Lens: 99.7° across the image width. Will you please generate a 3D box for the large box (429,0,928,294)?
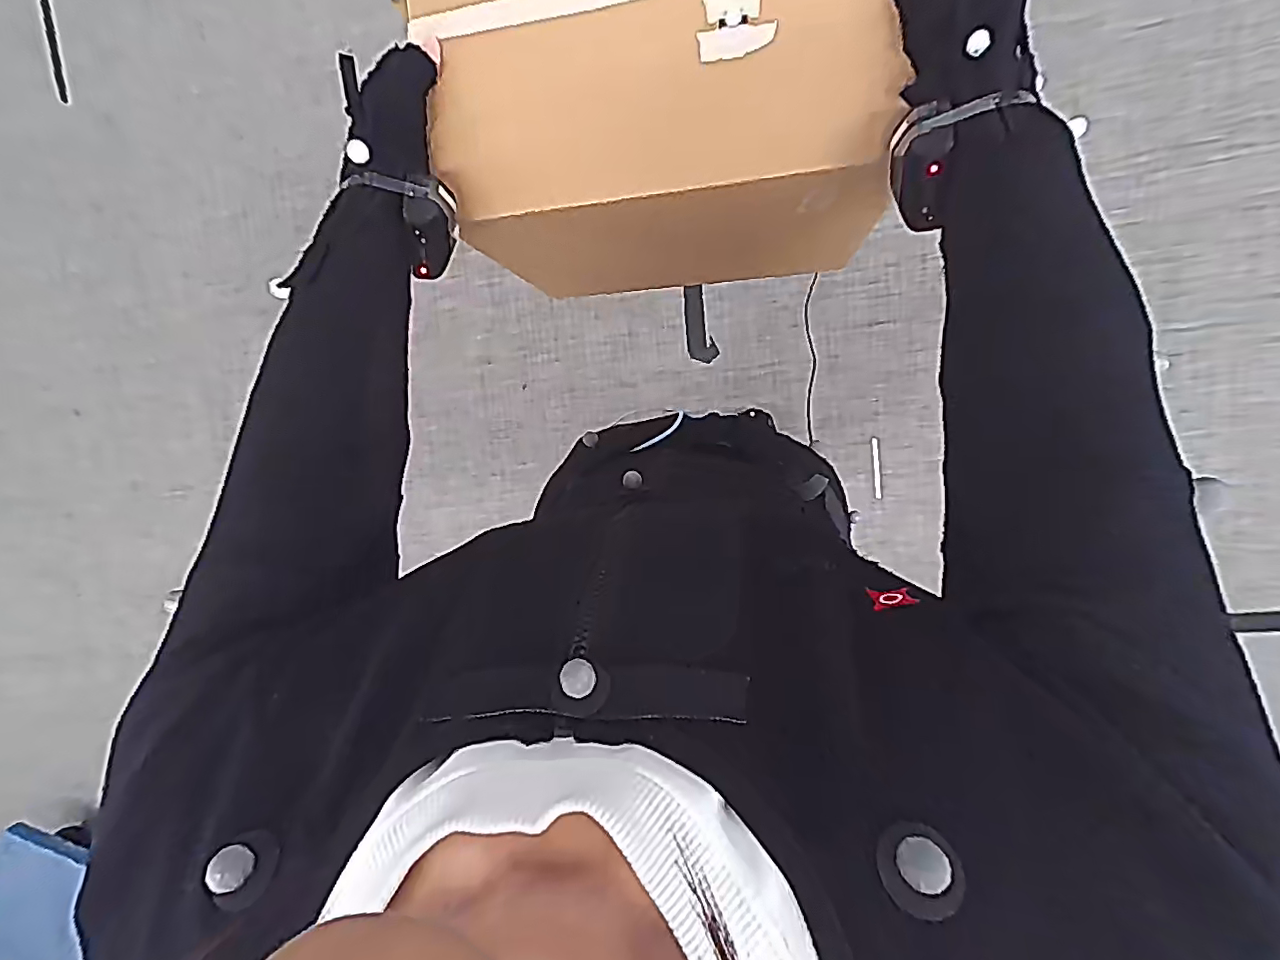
[{"bbox_3d":[0.037,-0.412,0.580,0.408,0.320,0.320,-3,96,10],"label":"large box"}]
